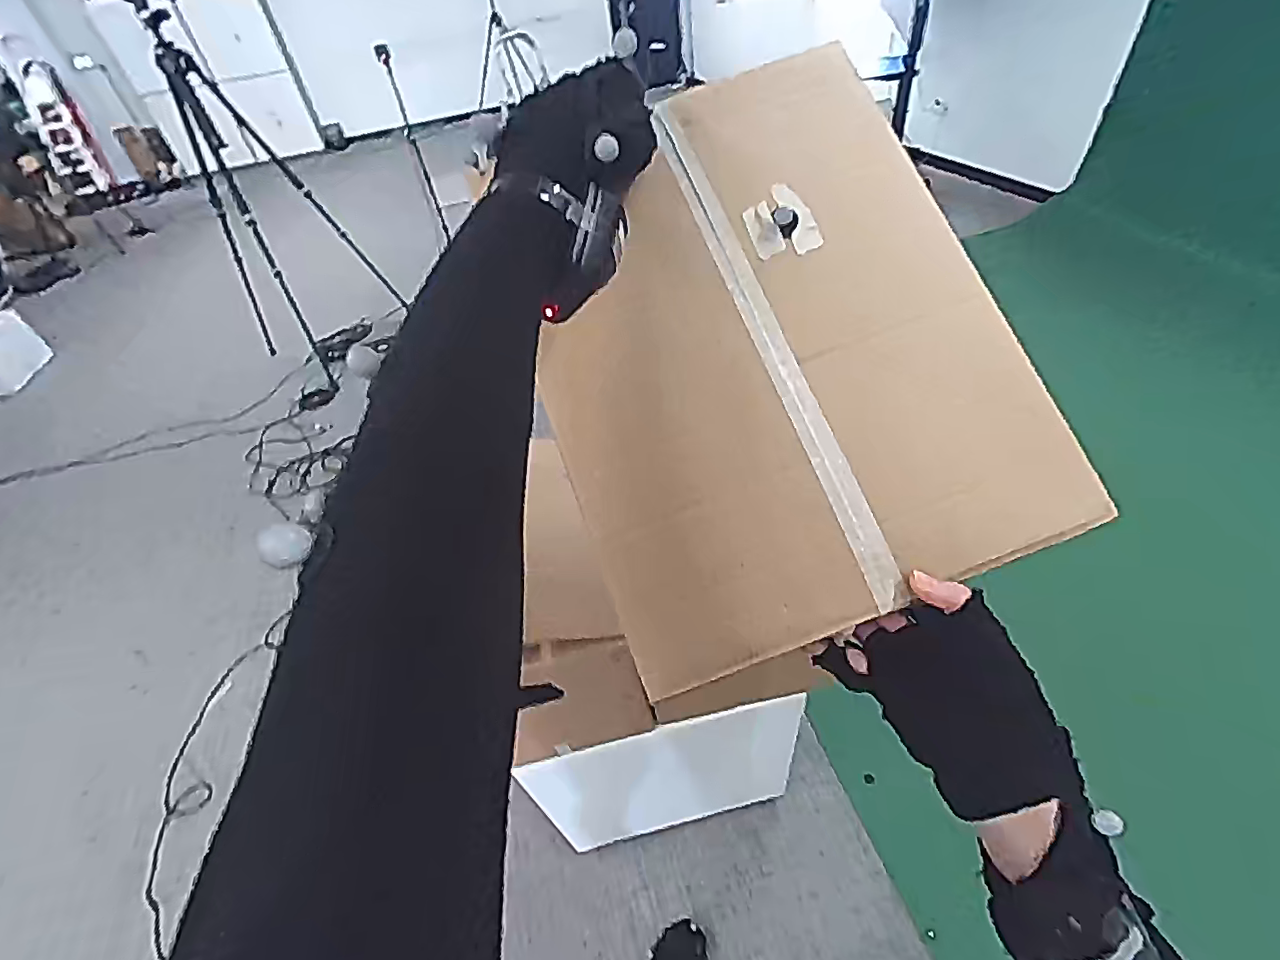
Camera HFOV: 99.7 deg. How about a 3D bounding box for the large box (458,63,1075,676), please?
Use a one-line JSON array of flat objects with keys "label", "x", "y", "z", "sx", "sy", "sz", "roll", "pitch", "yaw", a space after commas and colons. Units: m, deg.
[{"label": "large box", "x": 0.077, "y": -0.072, "z": 0.531, "sx": 0.320, "sy": 0.320, "sz": 0.408, "roll": -21, "pitch": 76, "yaw": -2}]
